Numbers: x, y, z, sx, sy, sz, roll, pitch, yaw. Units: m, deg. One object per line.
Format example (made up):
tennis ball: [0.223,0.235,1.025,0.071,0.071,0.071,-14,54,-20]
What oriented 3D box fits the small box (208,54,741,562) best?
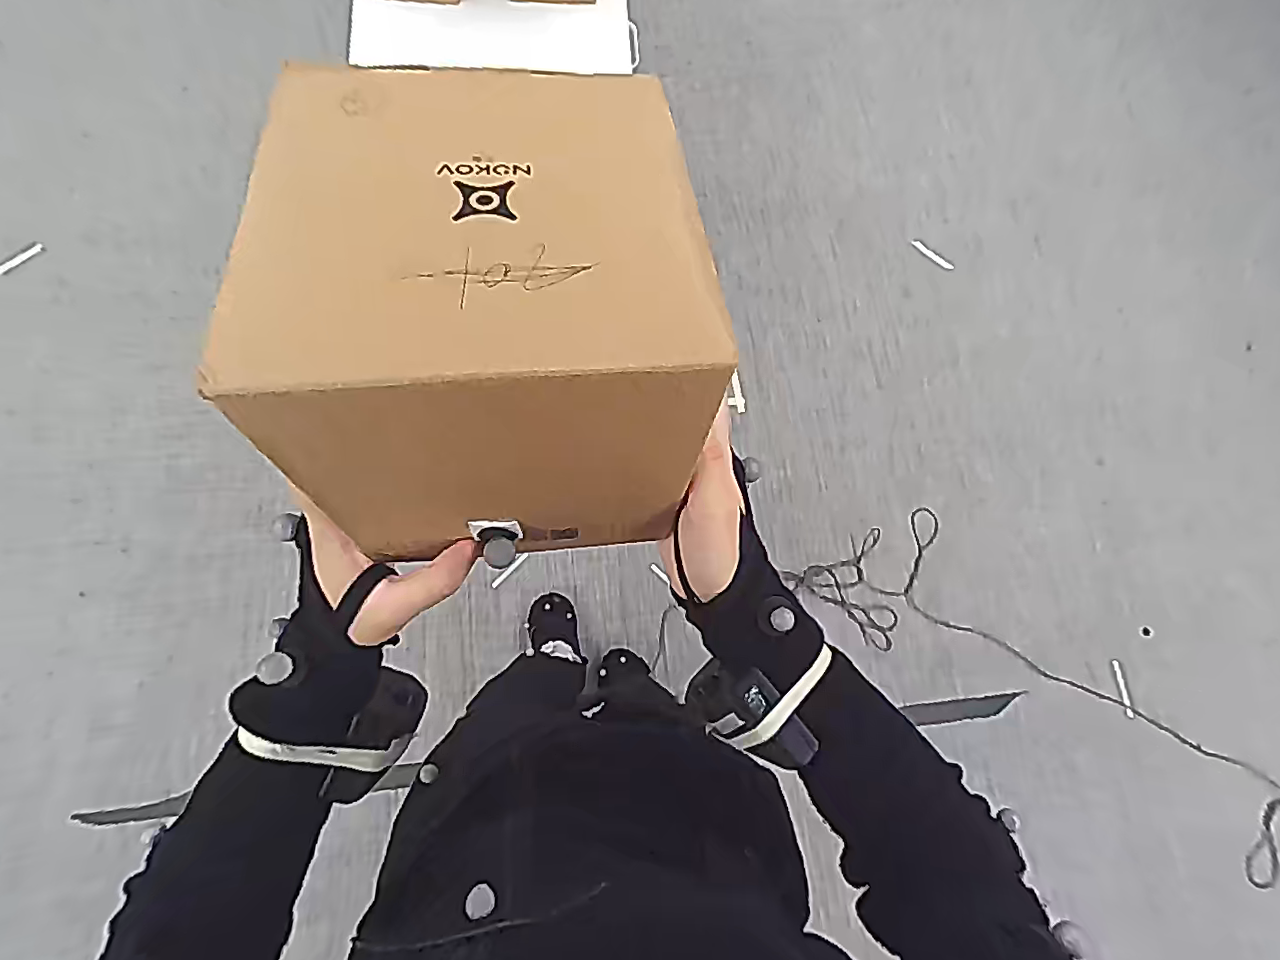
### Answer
small box: [-0.065,-0.074,0.276,0.168,0.176,0.179,-6,64,-8]
